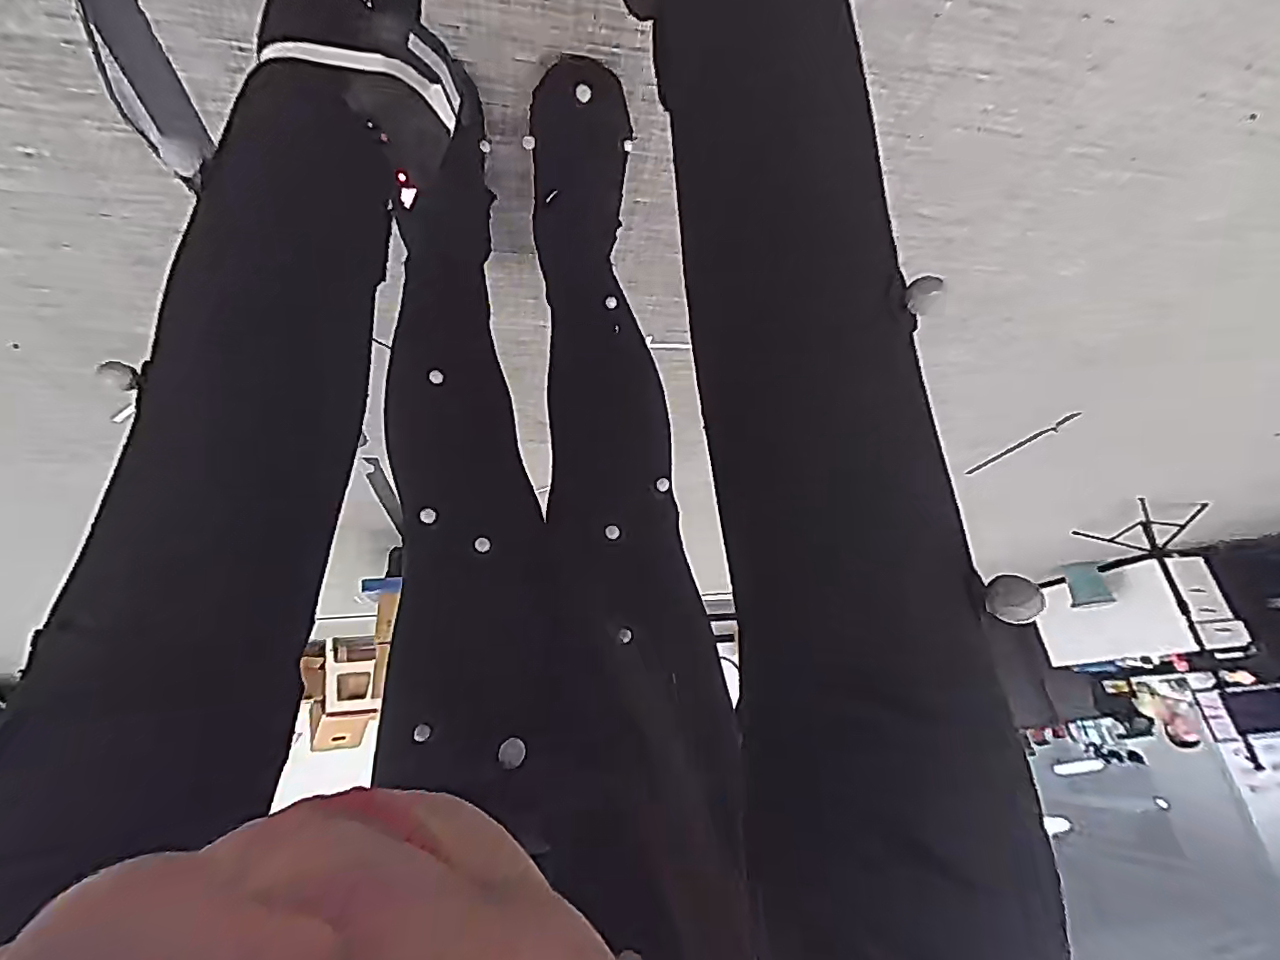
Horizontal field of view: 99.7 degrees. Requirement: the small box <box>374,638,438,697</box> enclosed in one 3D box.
[{"bbox_3d":[-0.771,0.622,1.796,0.168,0.176,0.179,1,156,-14],"label":"small box"}]
